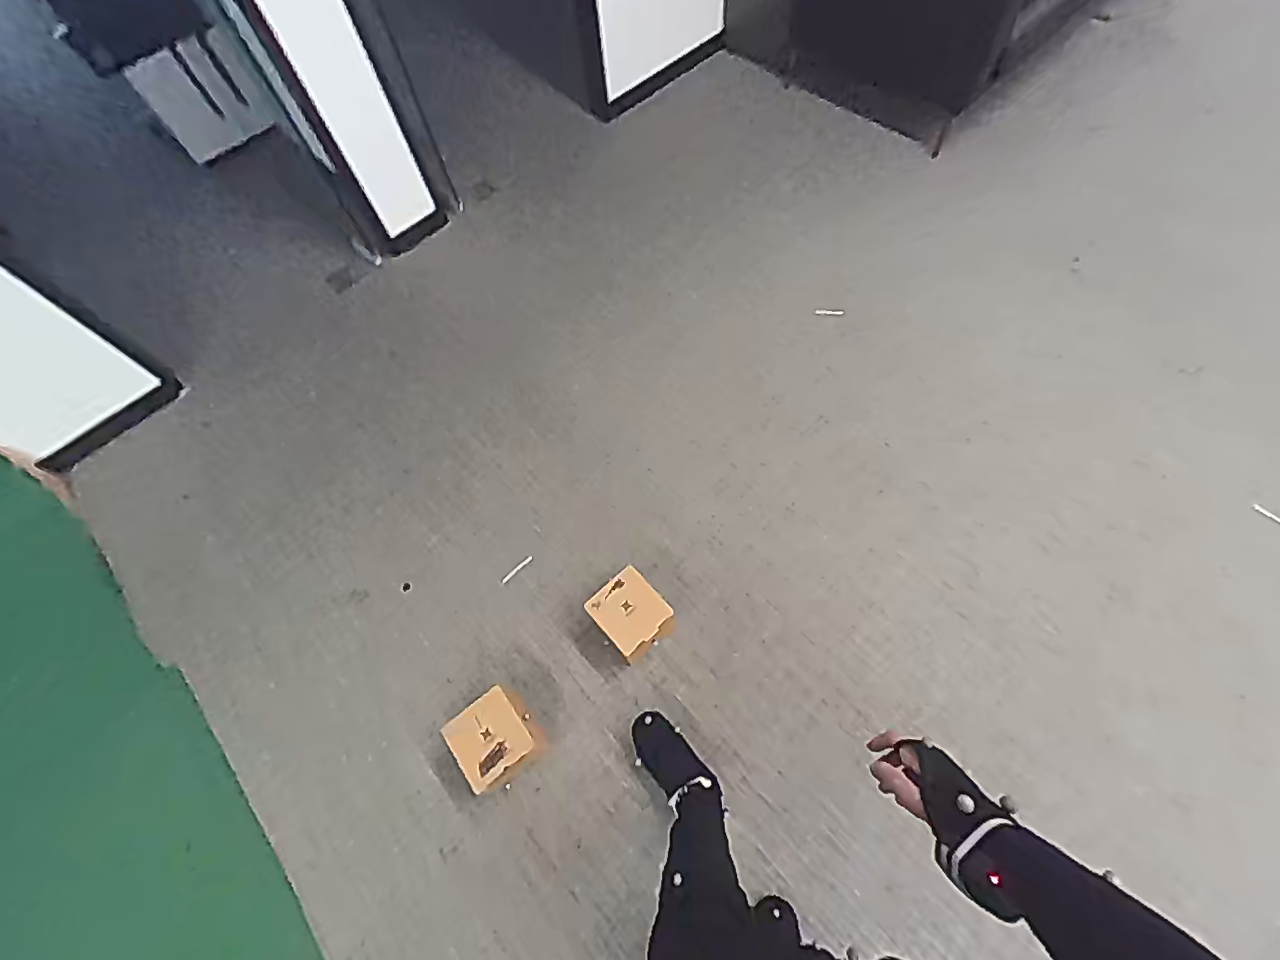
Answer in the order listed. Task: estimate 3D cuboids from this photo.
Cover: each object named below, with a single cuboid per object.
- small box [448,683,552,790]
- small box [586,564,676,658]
[{"bbox_3d":[-0.341,0.636,1.351,0.168,0.176,0.179,-36,66,-14],"label":"small box"},{"bbox_3d":[-0.018,0.357,1.445,0.168,0.176,0.179,-39,68,-14],"label":"small box"}]
